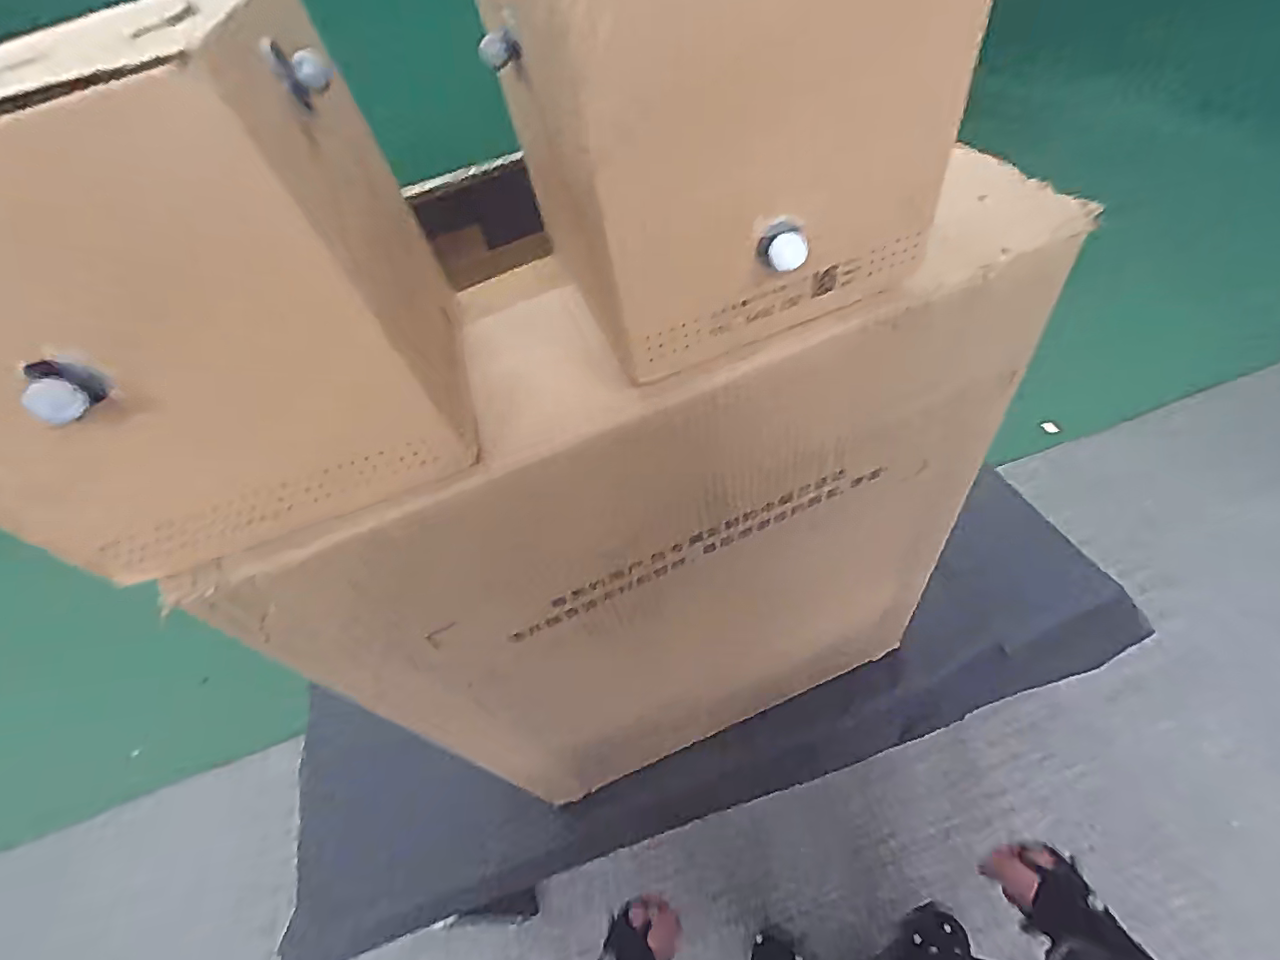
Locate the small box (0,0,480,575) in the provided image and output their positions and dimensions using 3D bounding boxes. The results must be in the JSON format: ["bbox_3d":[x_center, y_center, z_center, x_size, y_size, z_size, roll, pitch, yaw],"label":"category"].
[{"bbox_3d":[-0.195,-0.082,0.243,0.179,0.176,0.168,-20,52,-2],"label":"small box"}]

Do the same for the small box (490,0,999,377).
[{"bbox_3d":[0.032,-0.184,0.269,0.168,0.176,0.179,-22,52,-6],"label":"small box"}]
